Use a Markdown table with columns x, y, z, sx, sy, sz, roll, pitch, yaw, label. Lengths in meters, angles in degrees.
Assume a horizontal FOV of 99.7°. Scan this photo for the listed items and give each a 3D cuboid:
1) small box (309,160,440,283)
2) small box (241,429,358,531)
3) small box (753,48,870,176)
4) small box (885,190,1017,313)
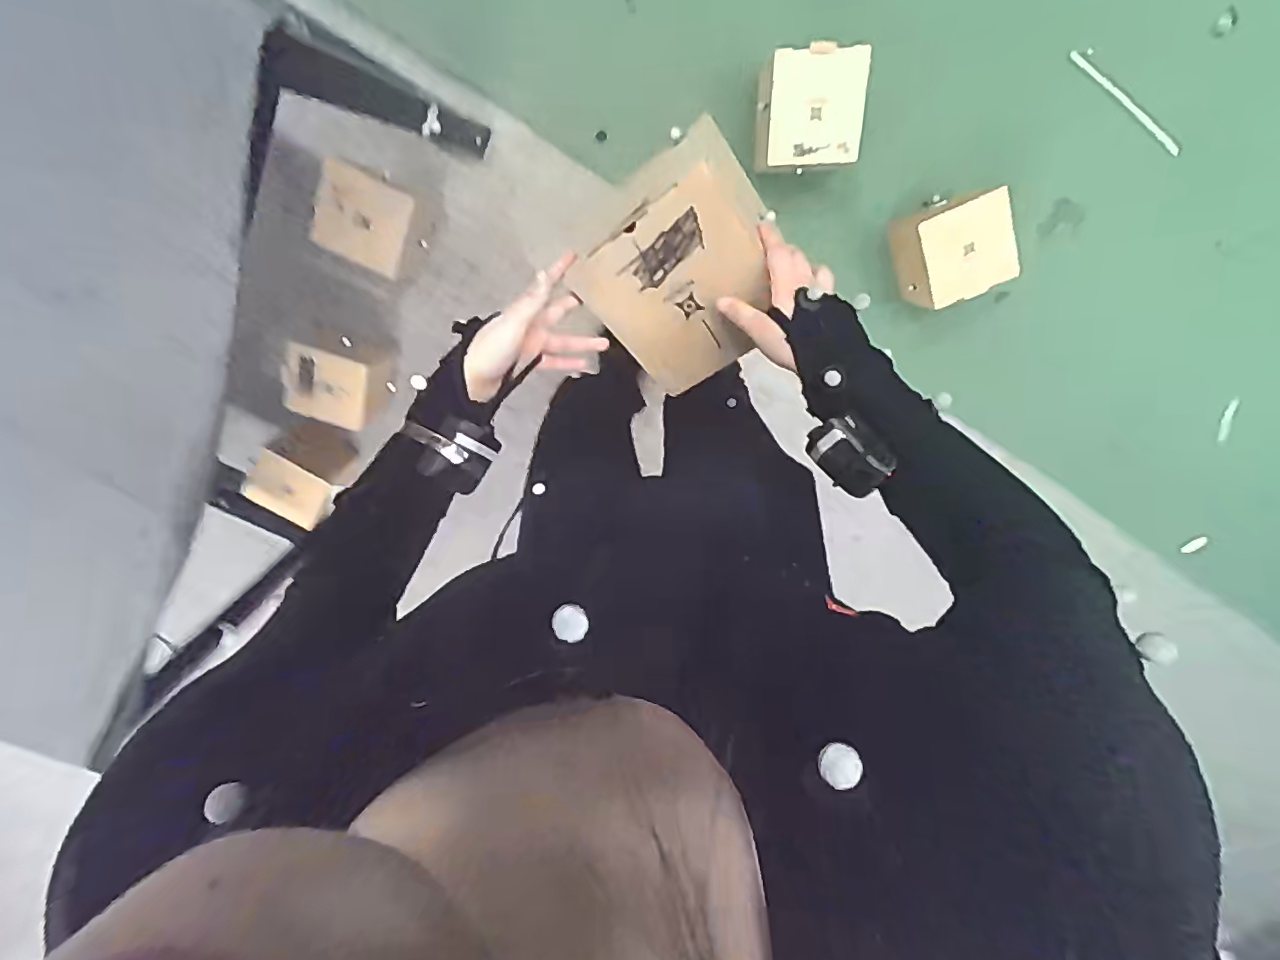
| x | y | z | sx | sy | sz | roll | pitch | yaw | label |
| --- | --- | --- | --- | --- | --- | --- | --- | --- | --- |
| -0.542 | -0.535 | 1.123 | 0.179 | 0.176 | 0.168 | 24 | 114 | -10 | small box |
| -0.870 | -0.007 | 1.397 | 0.179 | 0.176 | 0.168 | 32 | 113 | -13 | small box |
| 0.313 | -0.685 | 1.023 | 0.168 | 0.176 | 0.179 | -1 | 115 | 2 | small box |
| 0.634 | -0.472 | 1.117 | 0.168 | 0.176 | 0.179 | -22 | 112 | 11 | small box |
